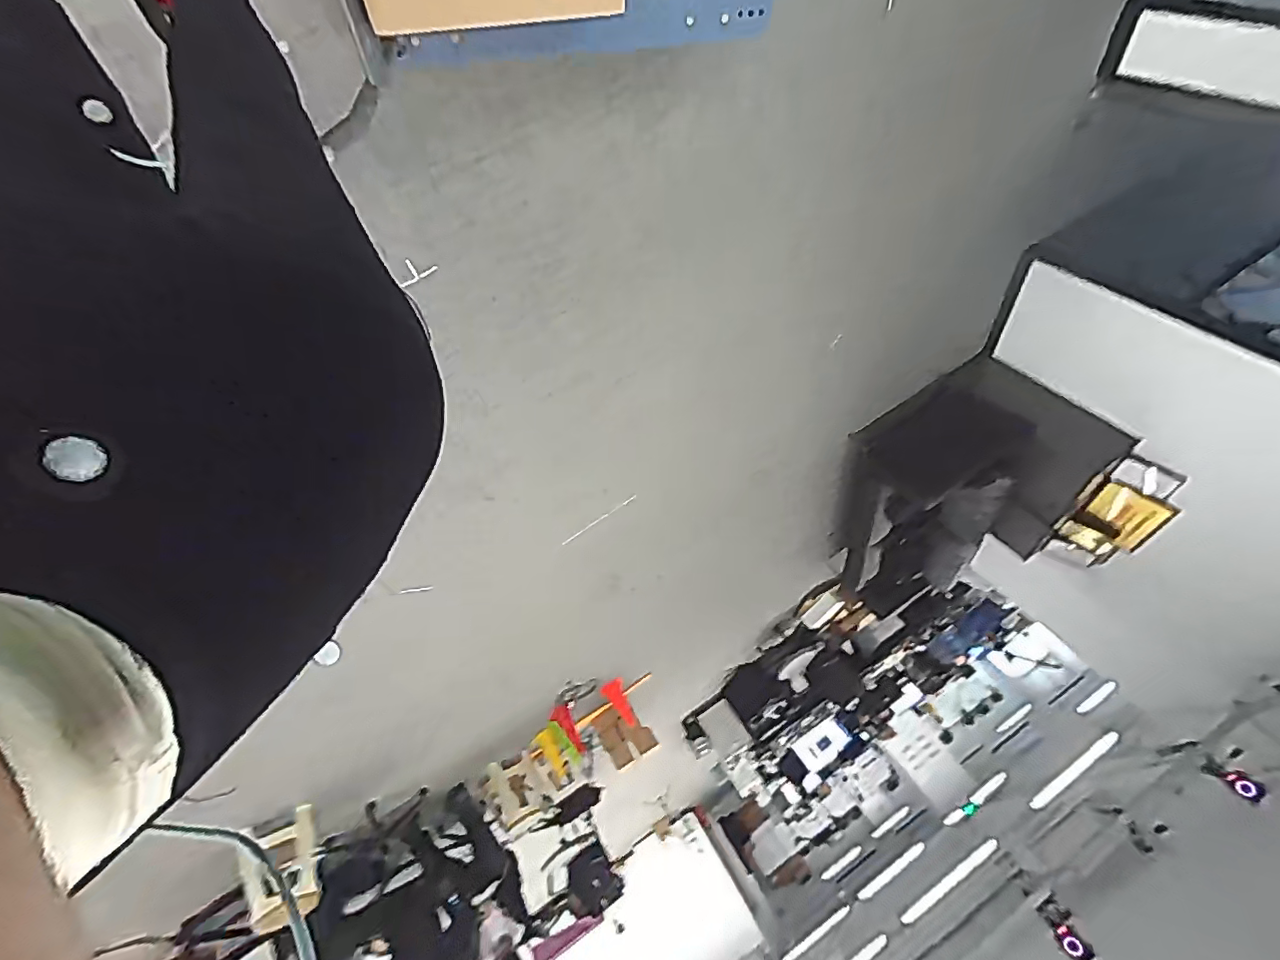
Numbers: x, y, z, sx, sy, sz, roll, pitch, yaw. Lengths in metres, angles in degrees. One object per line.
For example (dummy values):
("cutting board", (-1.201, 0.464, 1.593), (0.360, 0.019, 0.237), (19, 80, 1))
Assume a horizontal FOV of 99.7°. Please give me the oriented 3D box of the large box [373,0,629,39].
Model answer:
("large box", (-0.254, -0.938, 0.850), (0.408, 0.320, 0.320), (-13, 140, -9))
